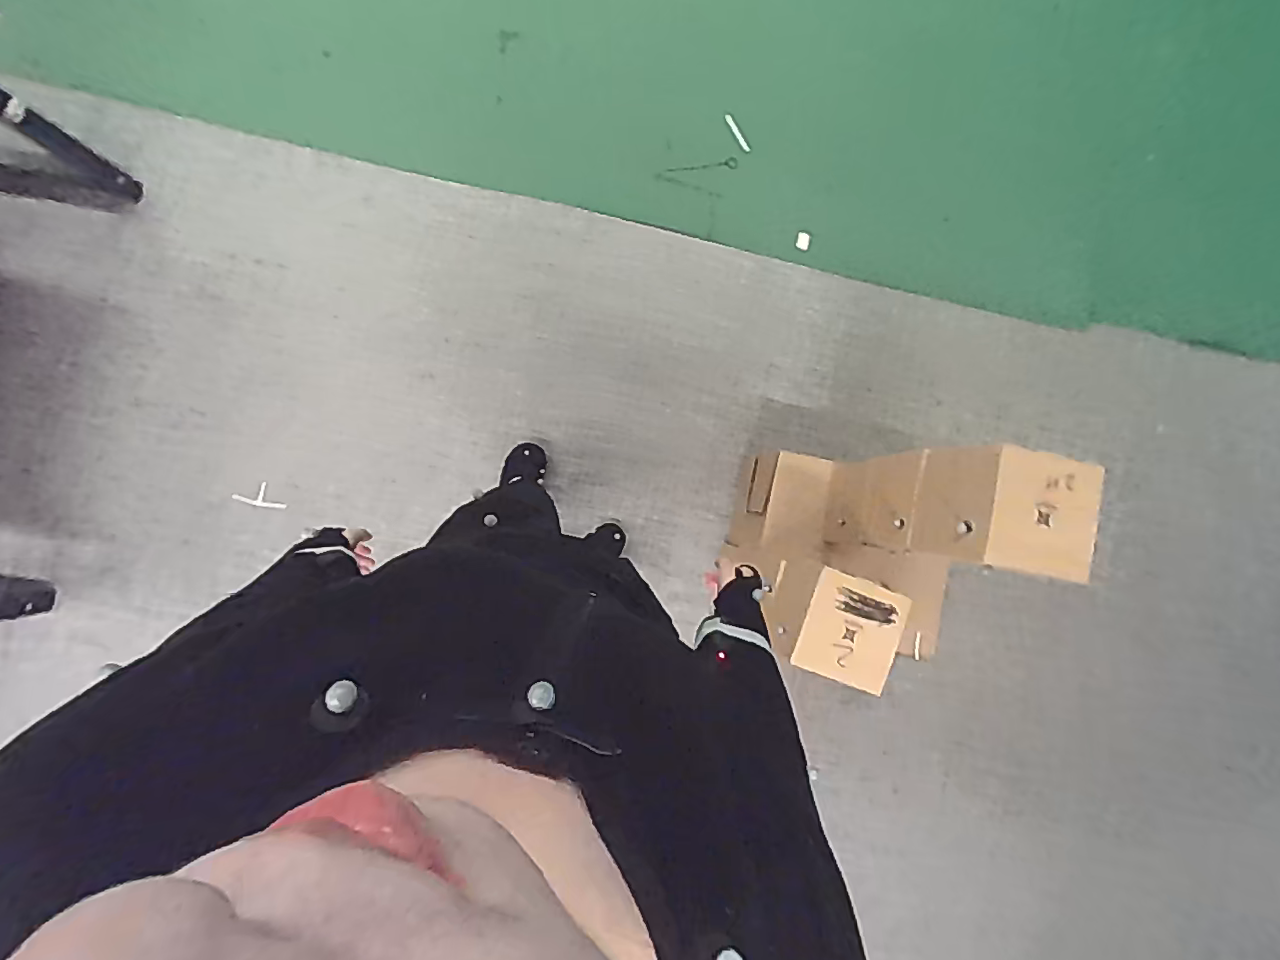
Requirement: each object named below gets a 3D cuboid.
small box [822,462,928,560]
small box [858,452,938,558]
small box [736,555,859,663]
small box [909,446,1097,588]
[{"bbox_3d":[0.513,0.067,1.172,0.168,0.176,0.179,10,86,-6],"label":"small box"},{"bbox_3d":[0.534,0.053,1.012,0.168,0.176,0.179,11,87,-6],"label":"small box"},{"bbox_3d":[0.325,0.263,1.143,0.179,0.176,0.168,16,86,-5],"label":"small box"},{"bbox_3d":[0.555,0.056,0.848,0.168,0.176,0.179,13,86,-7],"label":"small box"}]
